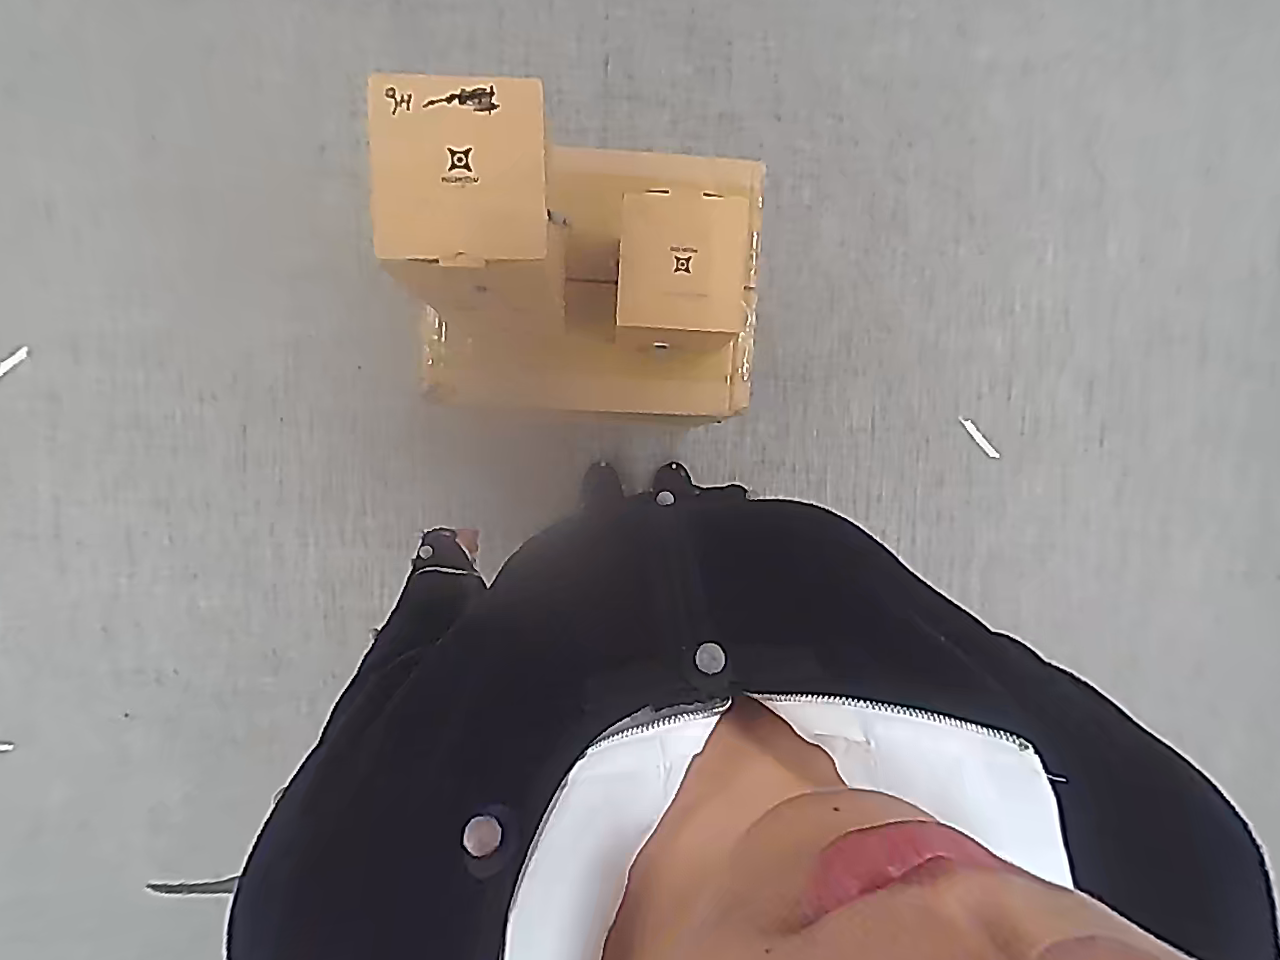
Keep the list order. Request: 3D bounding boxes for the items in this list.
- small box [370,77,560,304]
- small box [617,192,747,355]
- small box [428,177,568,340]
[{"bbox_3d":[-0.179,-0.301,0.602,0.168,0.176,0.179,-1,94,-4],"label":"small box"},{"bbox_3d":[0.052,-0.287,0.783,0.168,0.176,0.179,2,95,-1],"label":"small box"},{"bbox_3d":[-0.191,-0.307,0.765,0.168,0.176,0.179,1,93,-4],"label":"small box"}]
